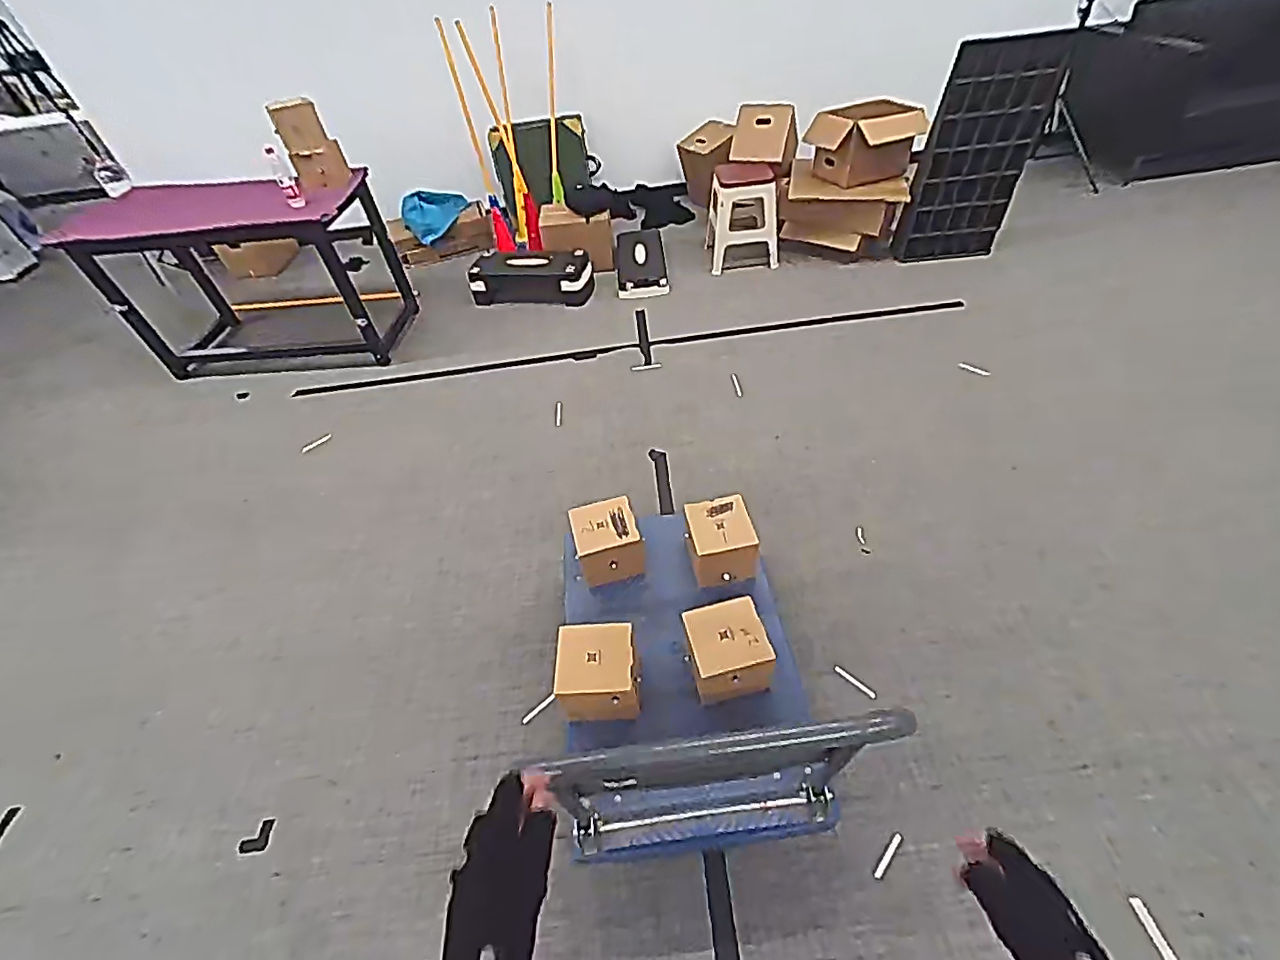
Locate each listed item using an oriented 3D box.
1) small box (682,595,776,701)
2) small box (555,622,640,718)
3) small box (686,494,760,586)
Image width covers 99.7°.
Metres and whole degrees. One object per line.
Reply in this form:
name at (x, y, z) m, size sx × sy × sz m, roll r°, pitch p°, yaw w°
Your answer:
small box at (0.210, 0.407, 1.295) m, size 0.179 × 0.176 × 0.168 m, roll -13°, pitch 48°, yaw -4°
small box at (-0.095, 0.457, 1.291) m, size 0.179 × 0.176 × 0.168 m, roll -3°, pitch 47°, yaw 2°
small box at (0.225, 0.168, 1.509) m, size 0.168 × 0.176 × 0.179 m, roll -11°, pitch 49°, yaw -2°
